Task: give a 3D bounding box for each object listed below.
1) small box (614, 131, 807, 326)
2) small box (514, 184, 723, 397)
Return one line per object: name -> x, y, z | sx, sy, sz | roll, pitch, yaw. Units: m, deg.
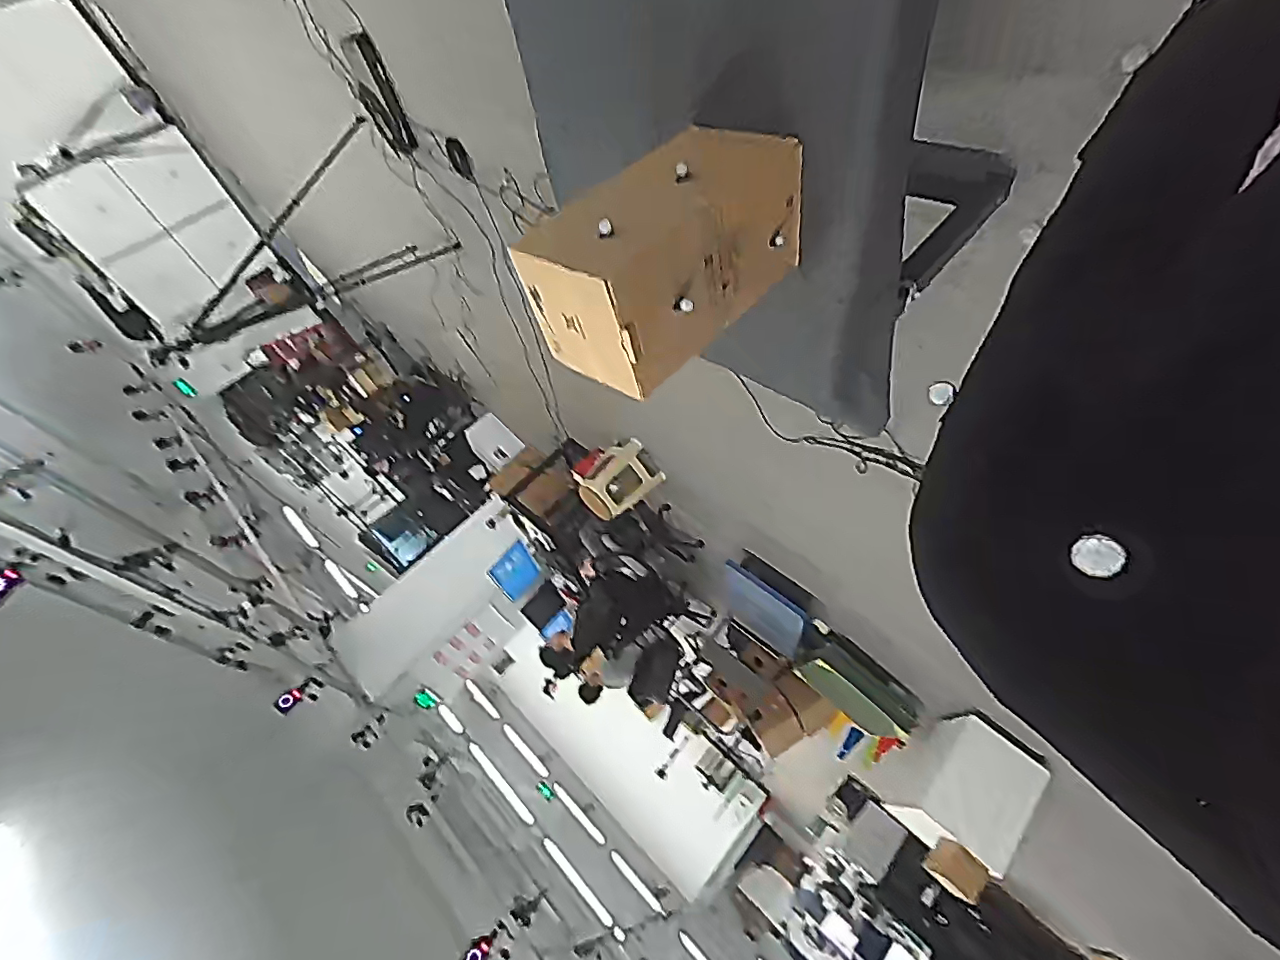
small box -> 0.097, -0.340, 0.722 | 0.179, 0.176, 0.168 | 32, 155, 33
small box -> -0.013, -0.236, 0.659 | 0.179, 0.176, 0.168 | 30, 154, 34
